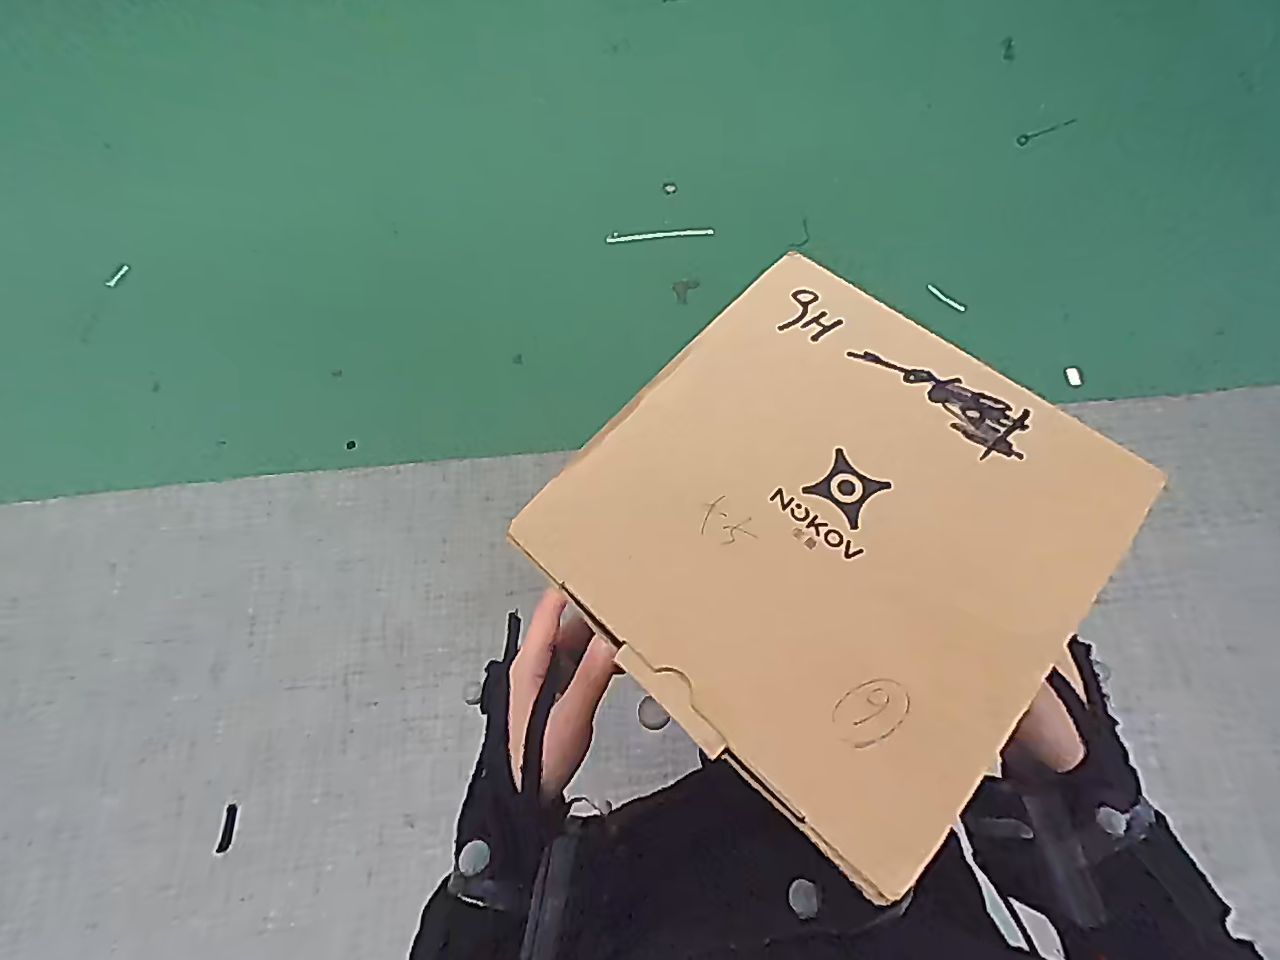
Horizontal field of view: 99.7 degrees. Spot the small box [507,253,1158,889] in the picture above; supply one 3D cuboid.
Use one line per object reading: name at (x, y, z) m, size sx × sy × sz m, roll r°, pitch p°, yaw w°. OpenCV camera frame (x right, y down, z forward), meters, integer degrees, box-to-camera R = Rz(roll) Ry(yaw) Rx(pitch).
small box at (0.072, 0.038, 0.269) m, size 0.168 × 0.176 × 0.179 m, roll 40°, pitch 77°, yaw 17°
